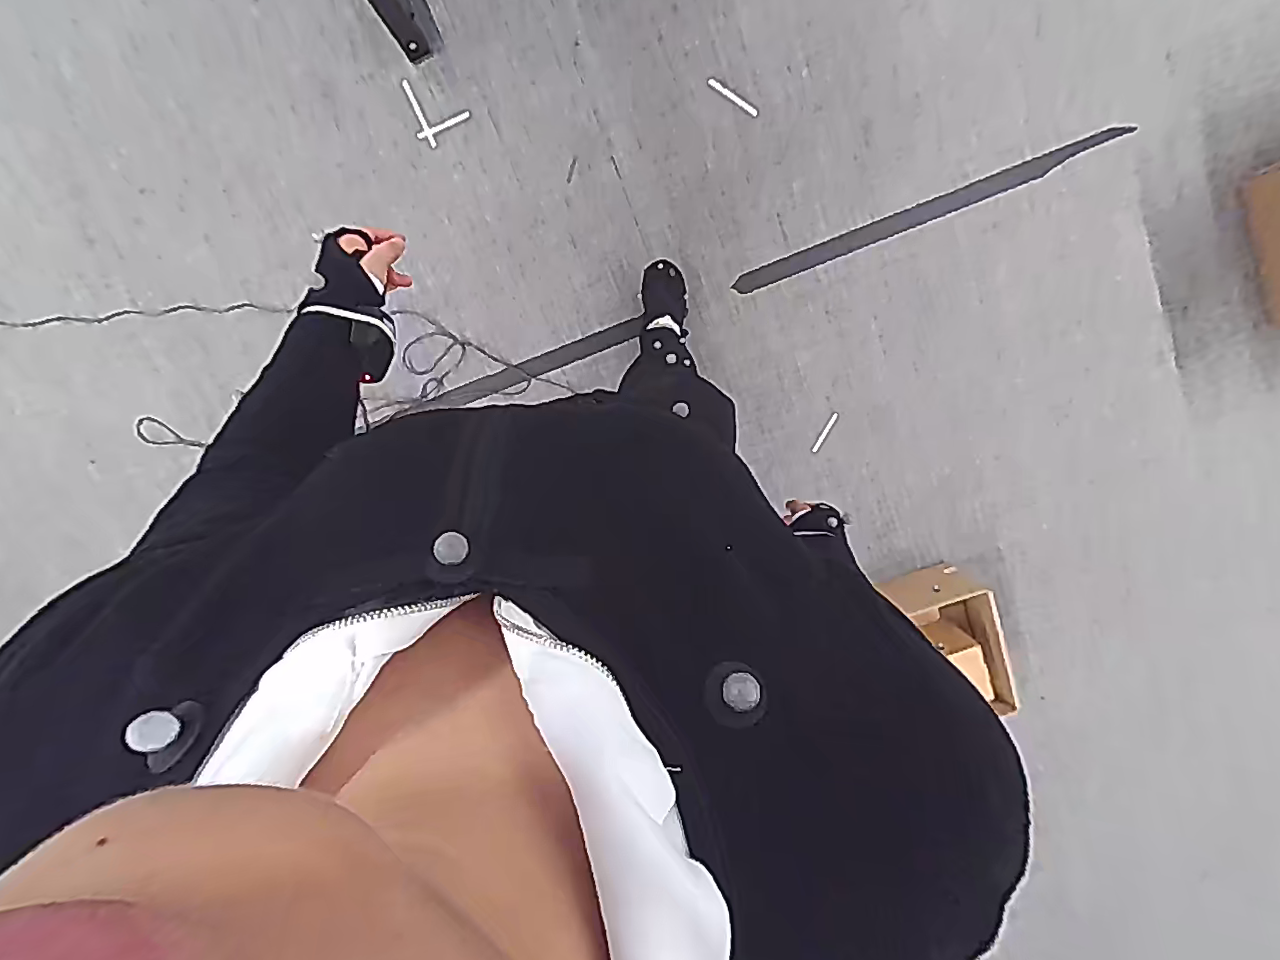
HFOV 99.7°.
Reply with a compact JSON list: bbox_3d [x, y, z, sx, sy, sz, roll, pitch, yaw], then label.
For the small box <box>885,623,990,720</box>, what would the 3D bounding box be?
[{"bbox_3d":[0.816,0.522,1.496,0.179,0.176,0.168,-20,99,4],"label":"small box"}]
